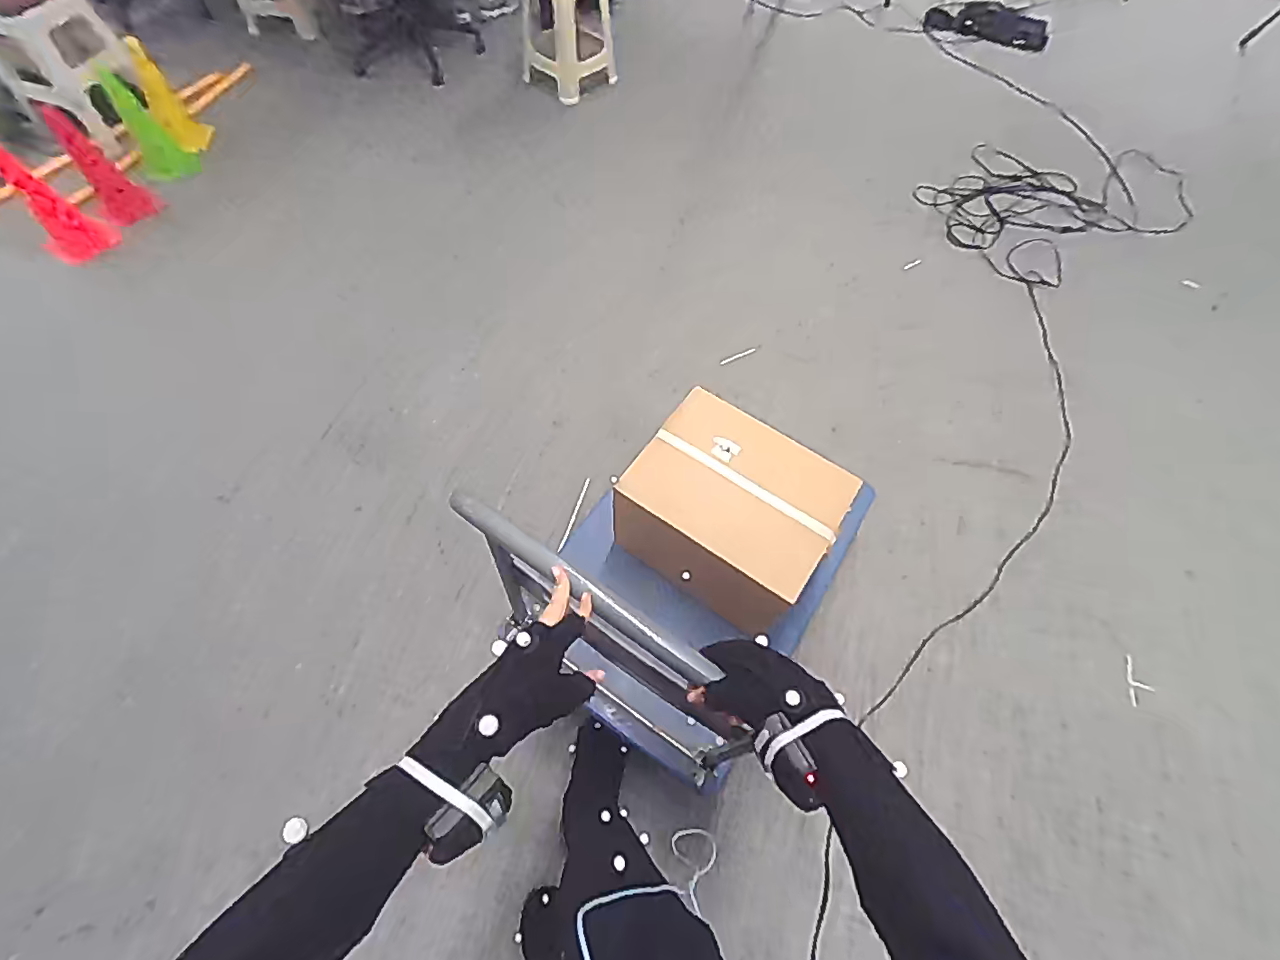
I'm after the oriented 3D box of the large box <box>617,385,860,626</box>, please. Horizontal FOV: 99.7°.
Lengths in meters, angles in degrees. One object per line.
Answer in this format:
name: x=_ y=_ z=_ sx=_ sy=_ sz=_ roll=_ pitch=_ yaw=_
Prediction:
large box: x=0.201 y=0.066 z=1.218 sx=0.408 sy=0.320 sz=0.320 roll=32 pitch=66 yaw=15
